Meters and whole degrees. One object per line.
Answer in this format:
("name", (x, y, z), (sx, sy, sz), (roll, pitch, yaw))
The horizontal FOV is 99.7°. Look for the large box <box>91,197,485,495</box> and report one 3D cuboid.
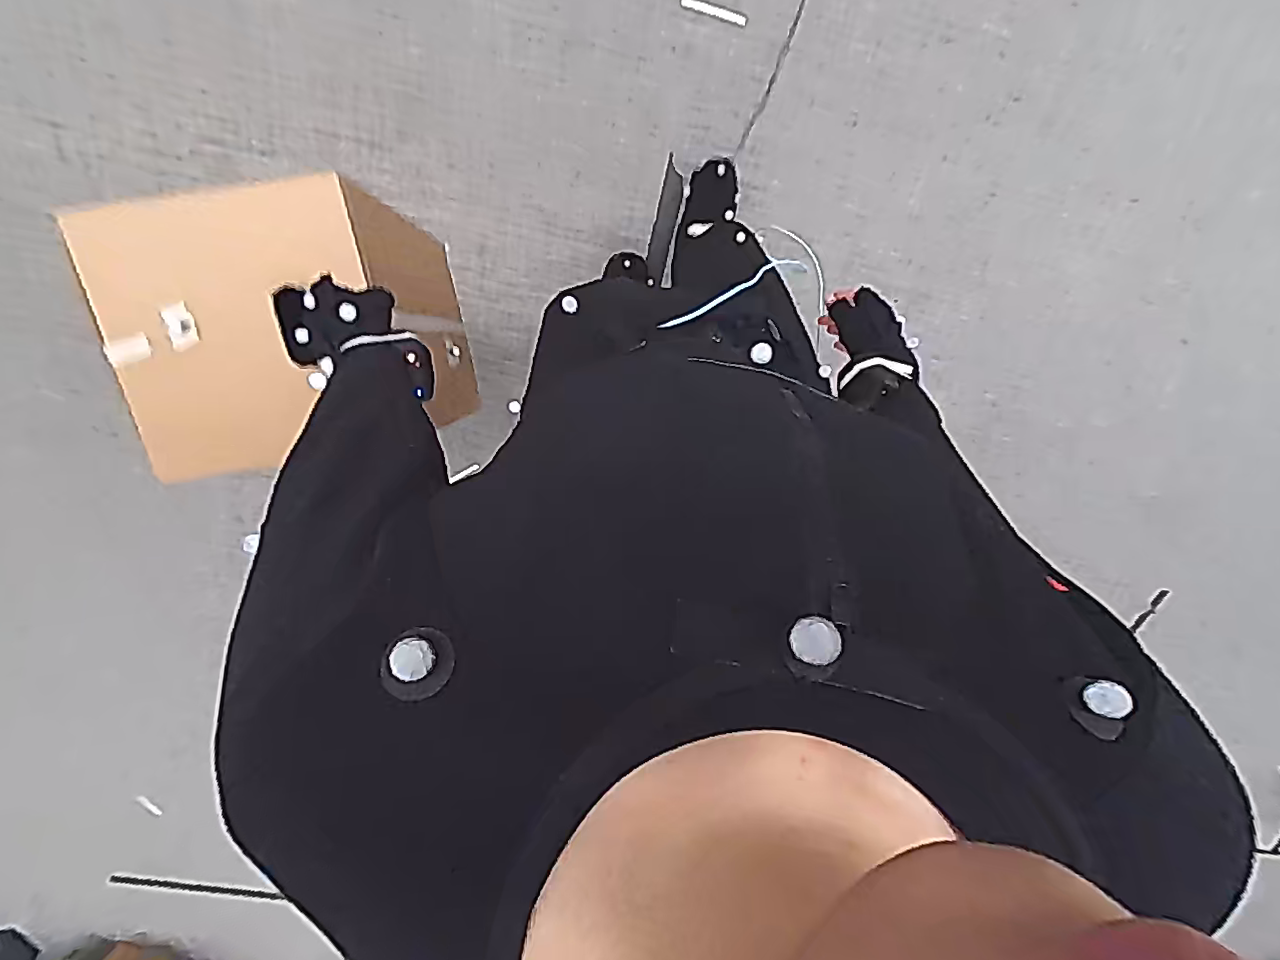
("large box", (-0.470, -0.198, 0.841), (0.320, 0.408, 0.320), (-11, 103, -2))
